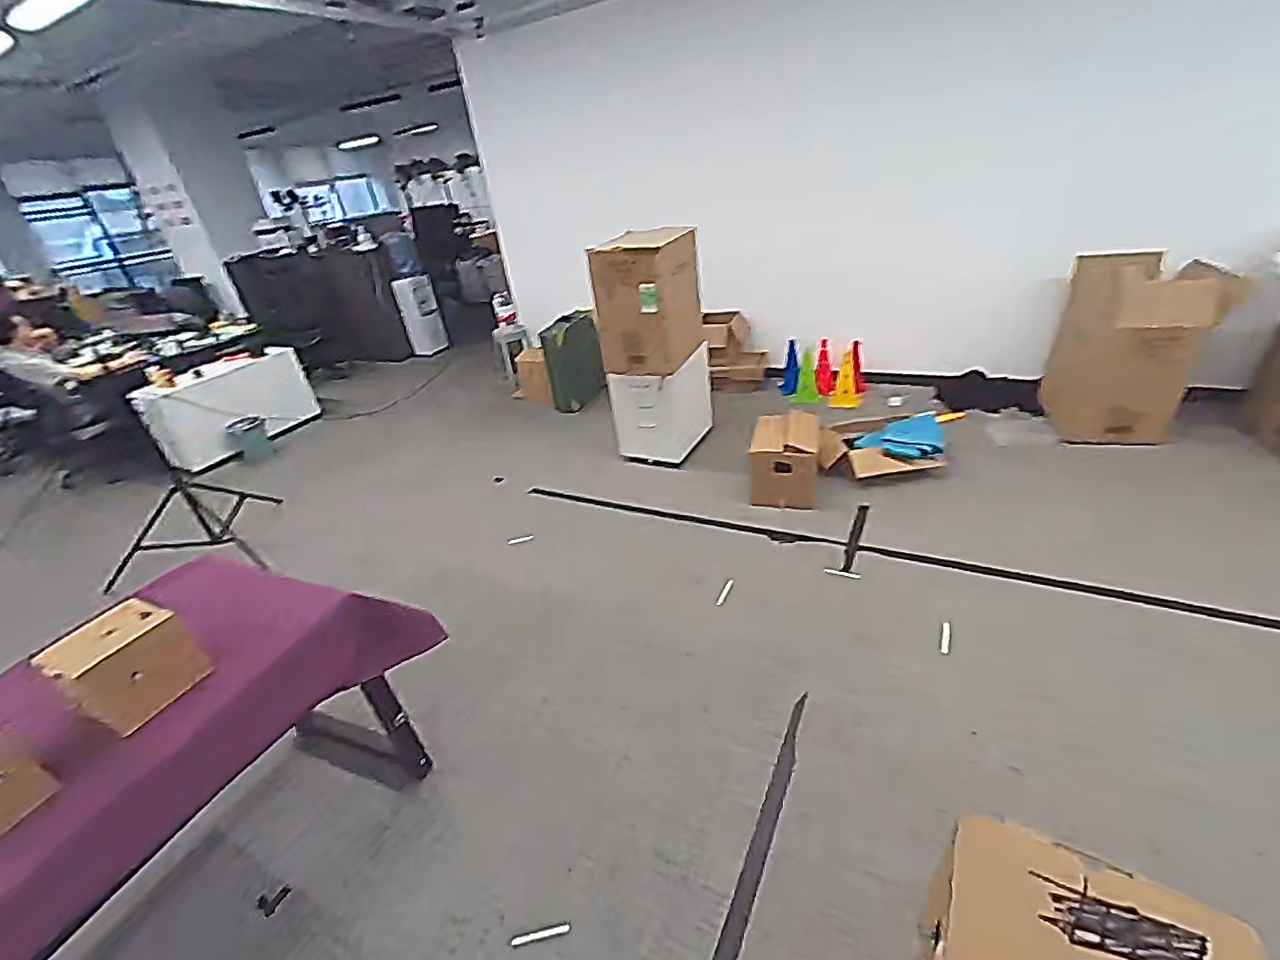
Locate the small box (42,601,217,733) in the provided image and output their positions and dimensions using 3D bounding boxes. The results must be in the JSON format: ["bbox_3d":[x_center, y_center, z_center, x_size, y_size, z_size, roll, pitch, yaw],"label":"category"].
[{"bbox_3d":[-1.037,0.383,1.112,0.168,0.176,0.179,7,34,24],"label":"small box"}]
